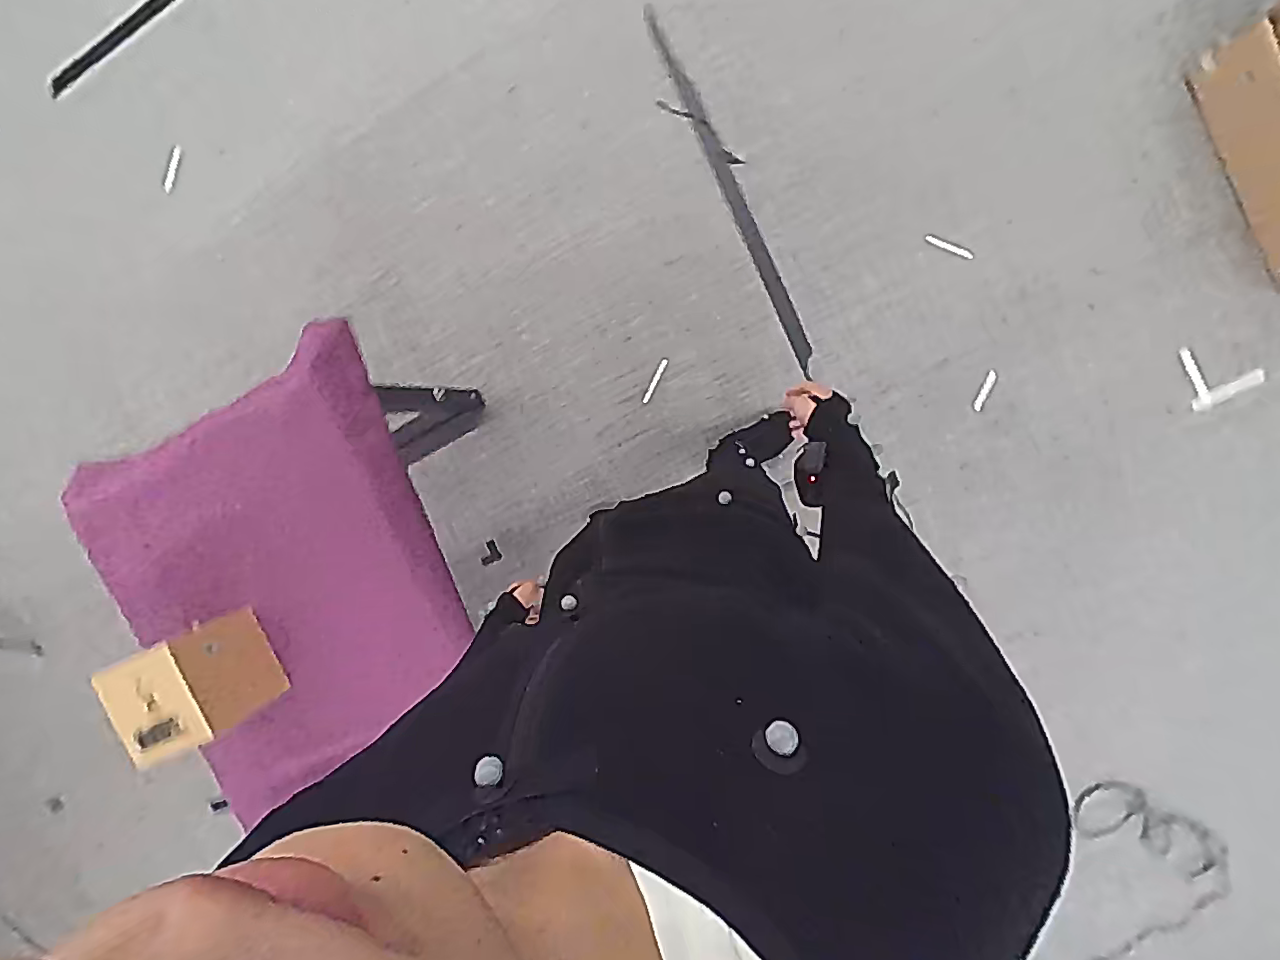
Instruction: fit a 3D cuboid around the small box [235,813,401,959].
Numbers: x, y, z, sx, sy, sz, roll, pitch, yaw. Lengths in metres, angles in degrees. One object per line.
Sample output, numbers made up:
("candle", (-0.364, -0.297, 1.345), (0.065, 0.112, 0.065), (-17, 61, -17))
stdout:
("small box", (-0.574, 0.759, 0.995), (0.179, 0.176, 0.168), (-26, 93, 11))
